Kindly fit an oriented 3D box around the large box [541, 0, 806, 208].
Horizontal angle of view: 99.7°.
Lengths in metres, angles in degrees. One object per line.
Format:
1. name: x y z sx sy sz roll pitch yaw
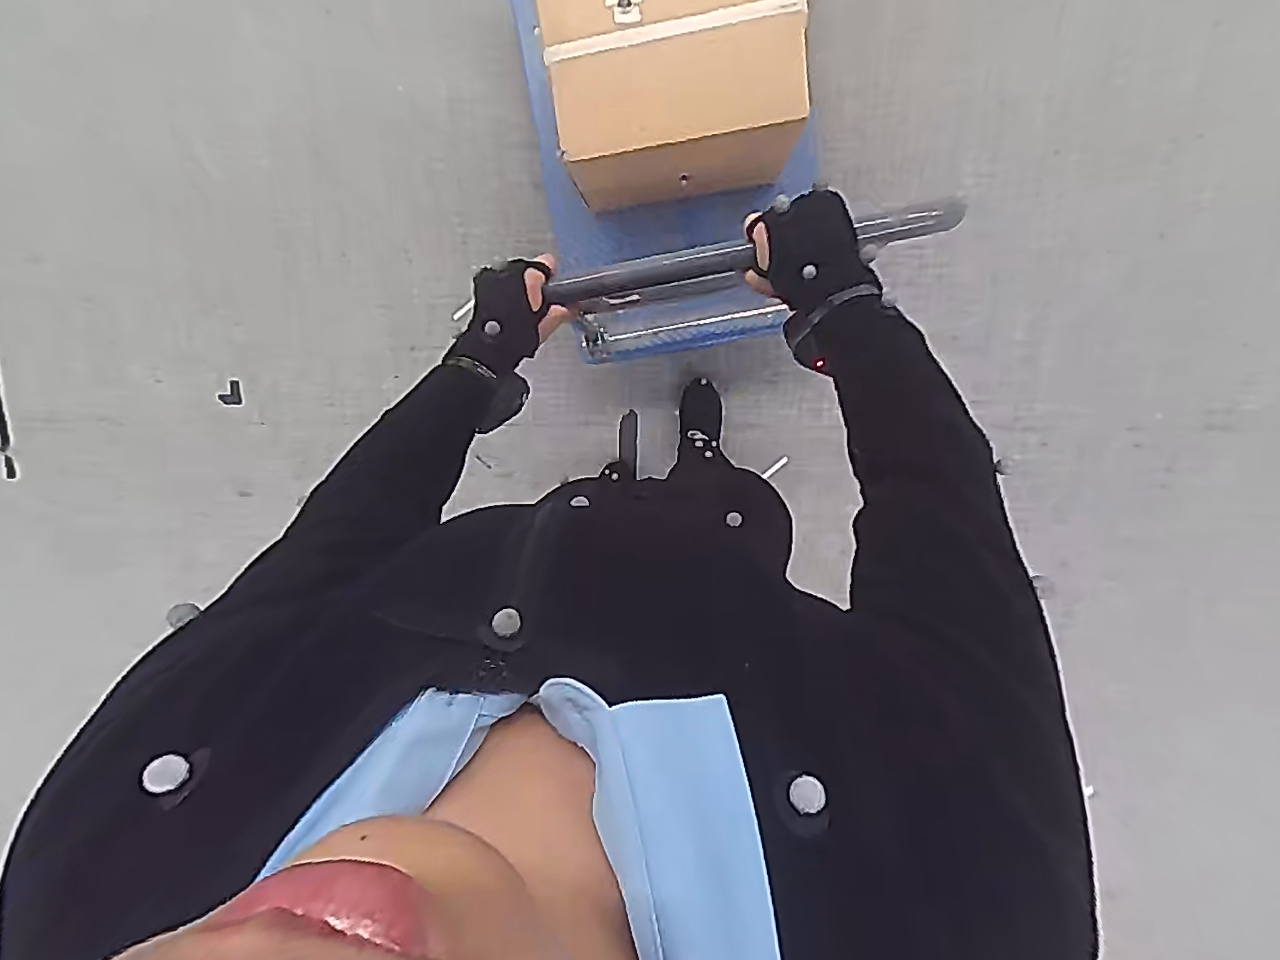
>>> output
1. large box: 0.063 -0.740 1.005 0.408 0.320 0.320 -7 100 6
